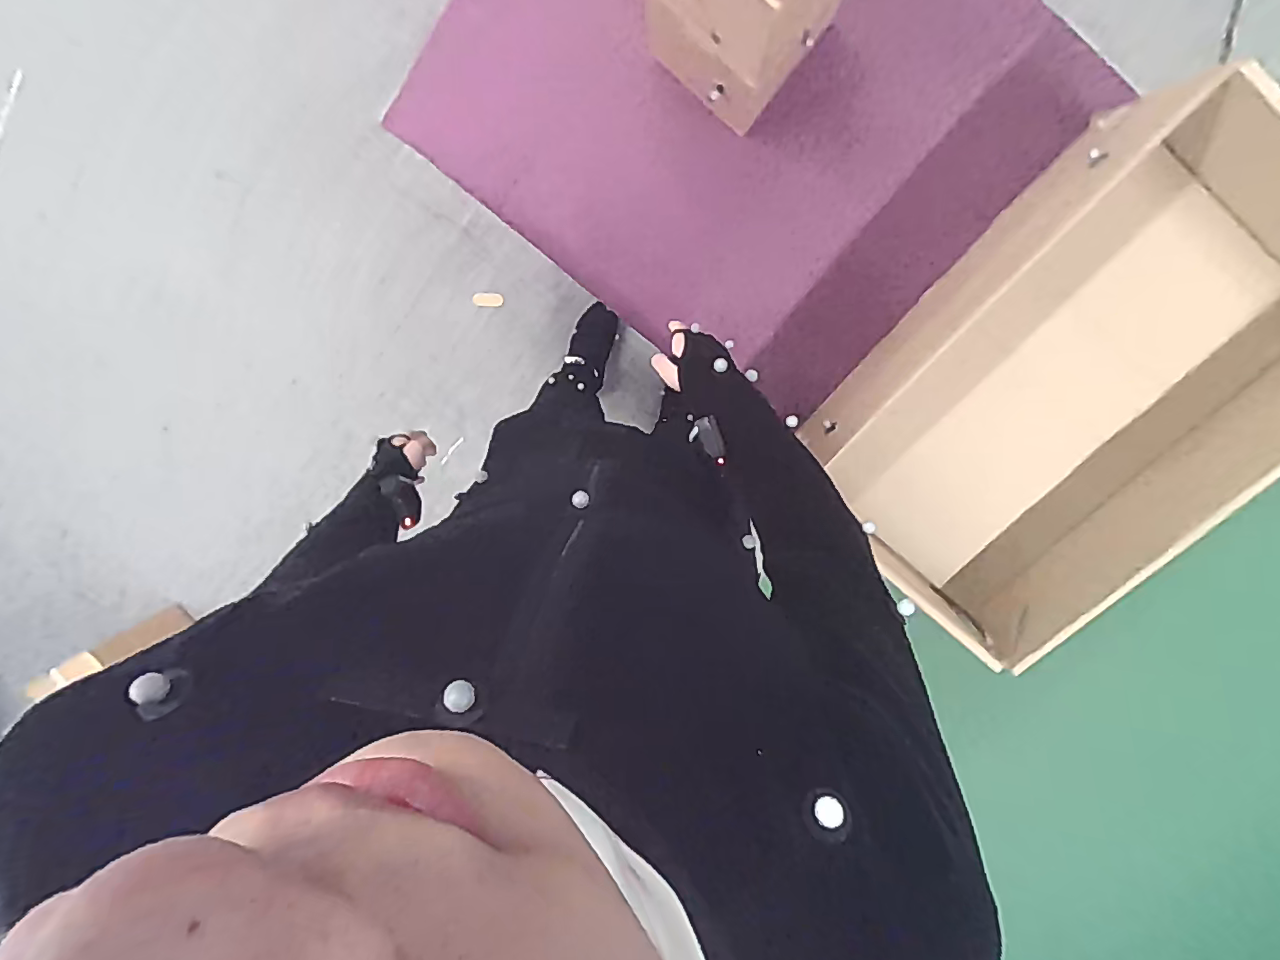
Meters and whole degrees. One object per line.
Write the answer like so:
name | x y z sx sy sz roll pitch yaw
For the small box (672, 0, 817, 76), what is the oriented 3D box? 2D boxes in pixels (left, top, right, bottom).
small box | 0.108 -0.517 0.478 0.168 0.176 0.179 39 105 -8

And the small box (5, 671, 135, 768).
small box | -1.679 0.704 1.604 0.179 0.176 0.168 -27 102 10

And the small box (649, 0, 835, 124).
small box | 0.125 -0.566 0.631 0.168 0.176 0.179 39 106 -8
